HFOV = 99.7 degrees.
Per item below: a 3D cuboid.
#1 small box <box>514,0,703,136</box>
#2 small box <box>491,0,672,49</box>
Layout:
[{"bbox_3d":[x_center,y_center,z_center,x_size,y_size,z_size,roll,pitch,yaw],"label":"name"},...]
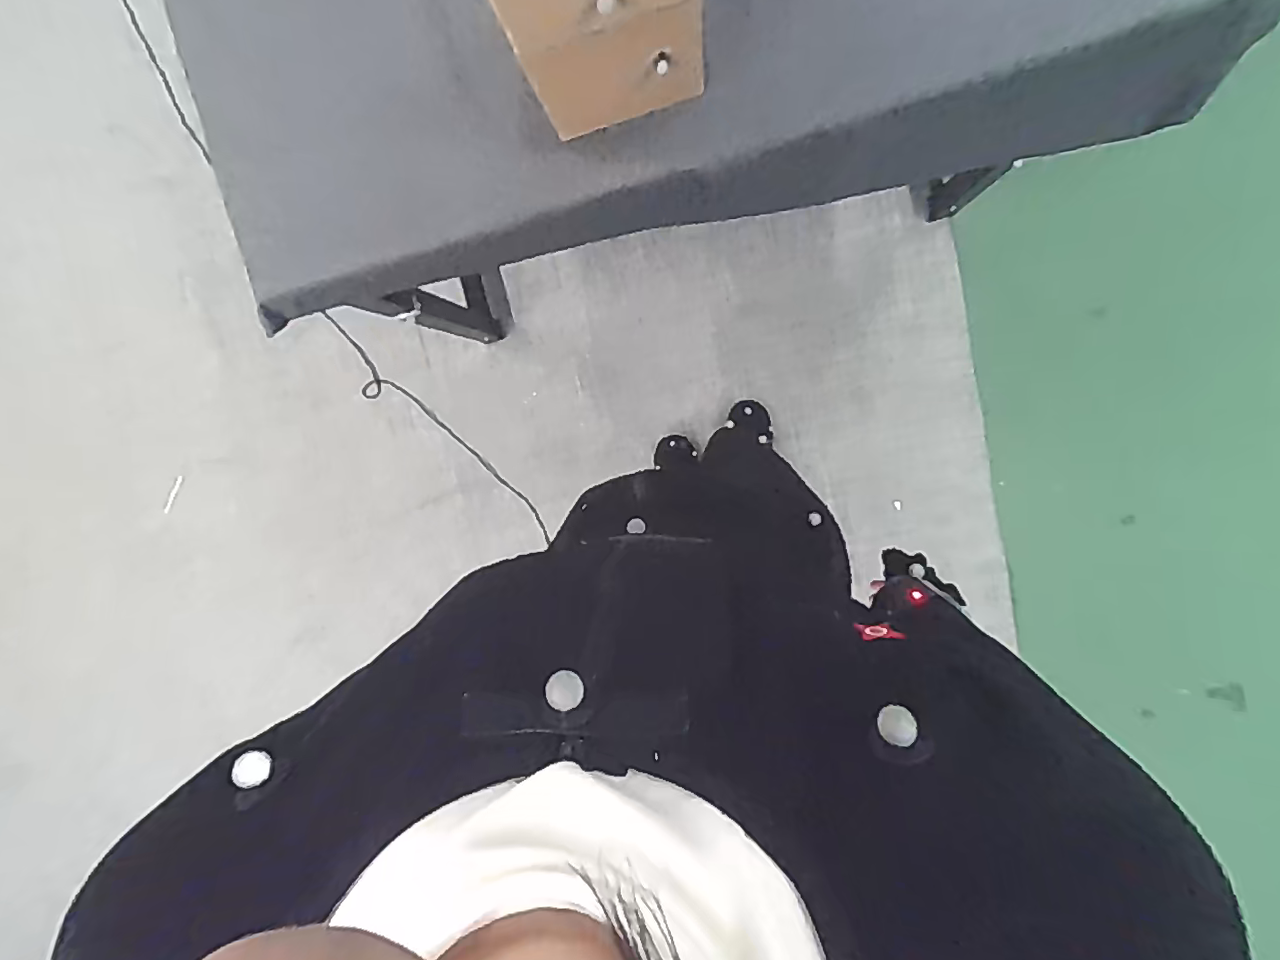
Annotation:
[{"bbox_3d":[-0.038,-0.496,0.552,0.179,0.176,0.168,-13,95,10],"label":"small box"},{"bbox_3d":[-0.054,-0.471,0.391,0.179,0.176,0.168,-13,95,8],"label":"small box"}]
